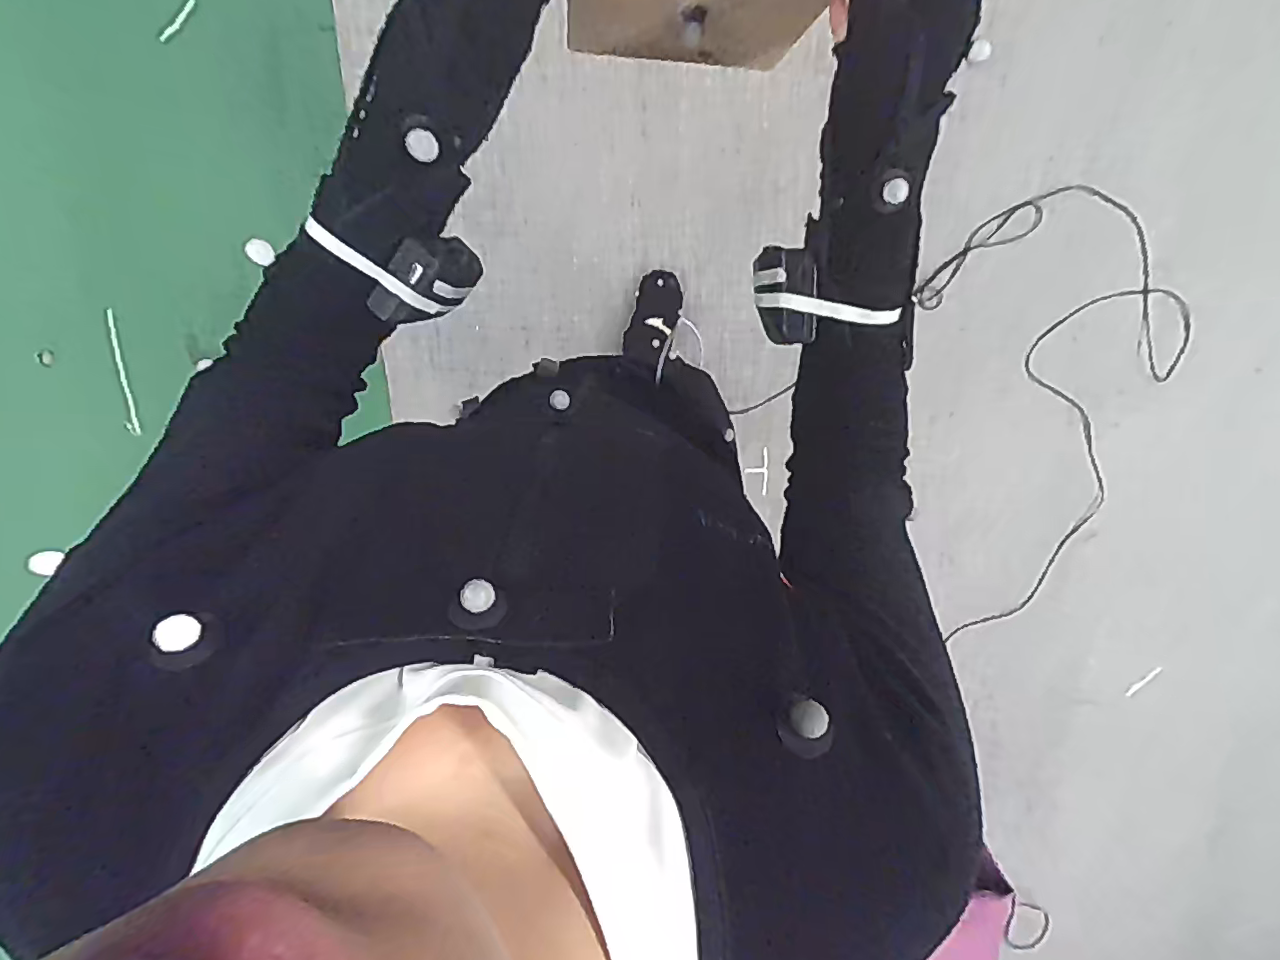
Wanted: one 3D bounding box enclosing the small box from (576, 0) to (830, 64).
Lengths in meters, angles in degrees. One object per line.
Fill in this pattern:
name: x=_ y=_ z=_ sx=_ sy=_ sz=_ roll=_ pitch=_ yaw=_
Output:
small box: x=0.046 y=-0.381 z=0.319 sx=0.168 sy=0.176 sz=0.179 roll=0 pitch=110 yaw=-8
